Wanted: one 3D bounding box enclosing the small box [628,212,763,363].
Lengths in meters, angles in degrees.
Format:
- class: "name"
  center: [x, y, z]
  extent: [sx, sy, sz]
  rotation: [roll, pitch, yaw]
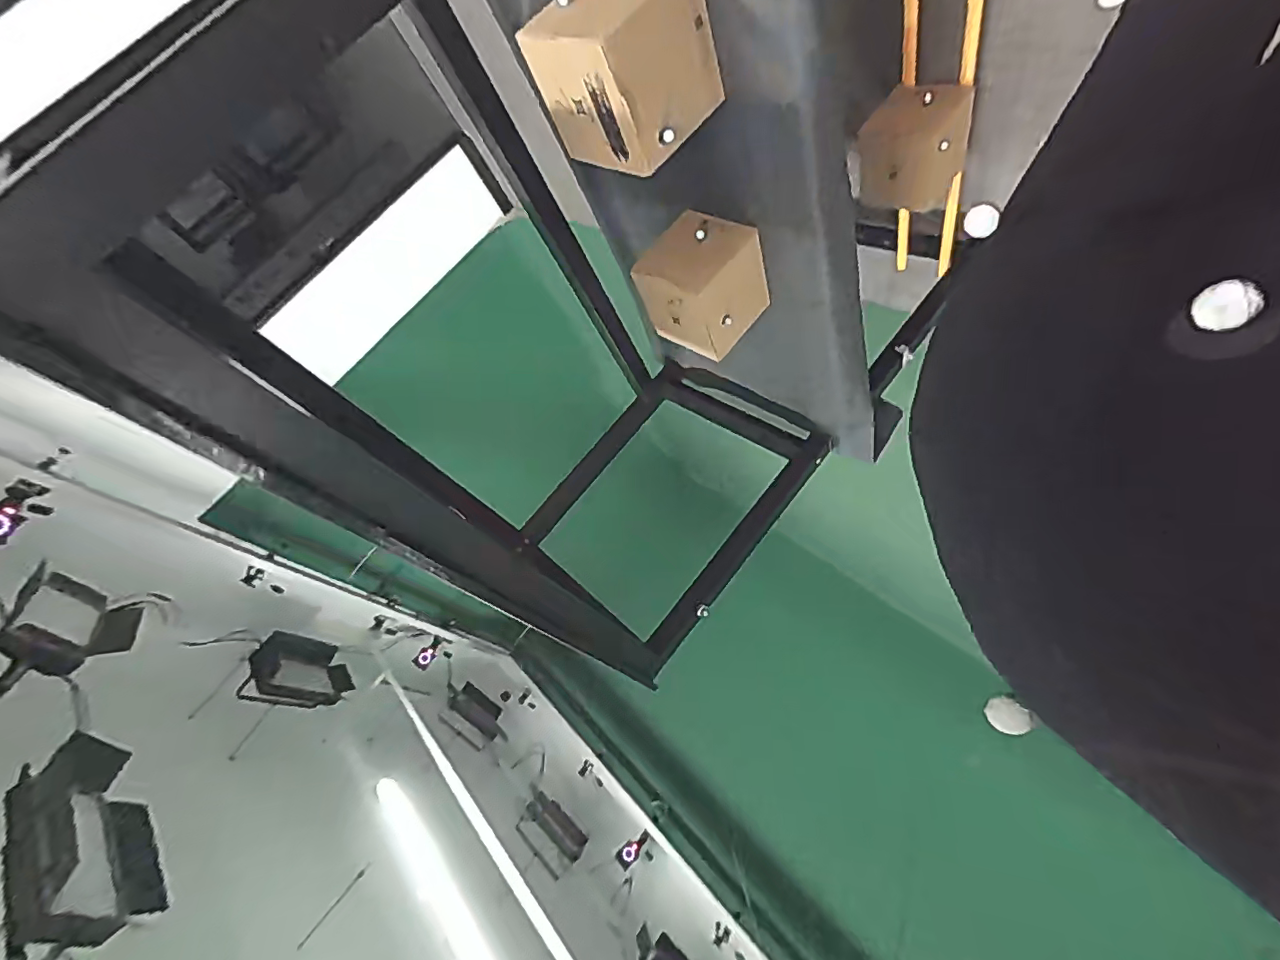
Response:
- class: "small box"
  center: [0.112, -0.359, 1.012]
  extent: [0.168, 0.176, 0.179]
  rotation: [34, 168, 33]
